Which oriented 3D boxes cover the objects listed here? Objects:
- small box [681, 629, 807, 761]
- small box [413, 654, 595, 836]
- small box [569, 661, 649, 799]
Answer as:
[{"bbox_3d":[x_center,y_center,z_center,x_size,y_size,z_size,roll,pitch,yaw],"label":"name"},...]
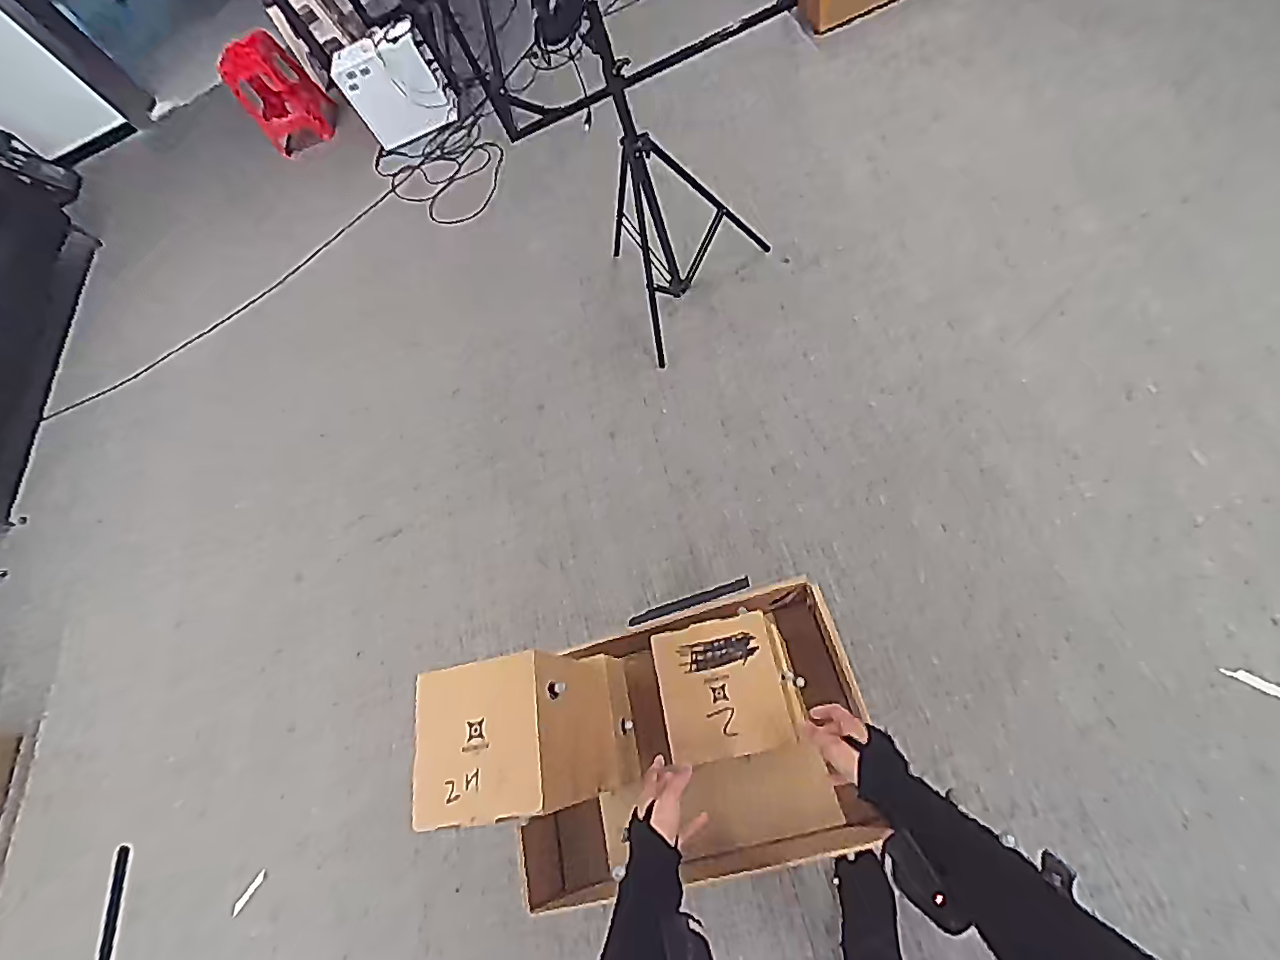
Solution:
[{"bbox_3d":[0.184,0.378,0.946,0.168,0.176,0.179,-19,63,11],"label":"small box"},{"bbox_3d":[-0.168,0.338,0.702,0.168,0.176,0.179,-15,64,11],"label":"small box"},{"bbox_3d":[-0.093,0.393,0.841,0.168,0.176,0.179,-16,62,10],"label":"small box"}]
